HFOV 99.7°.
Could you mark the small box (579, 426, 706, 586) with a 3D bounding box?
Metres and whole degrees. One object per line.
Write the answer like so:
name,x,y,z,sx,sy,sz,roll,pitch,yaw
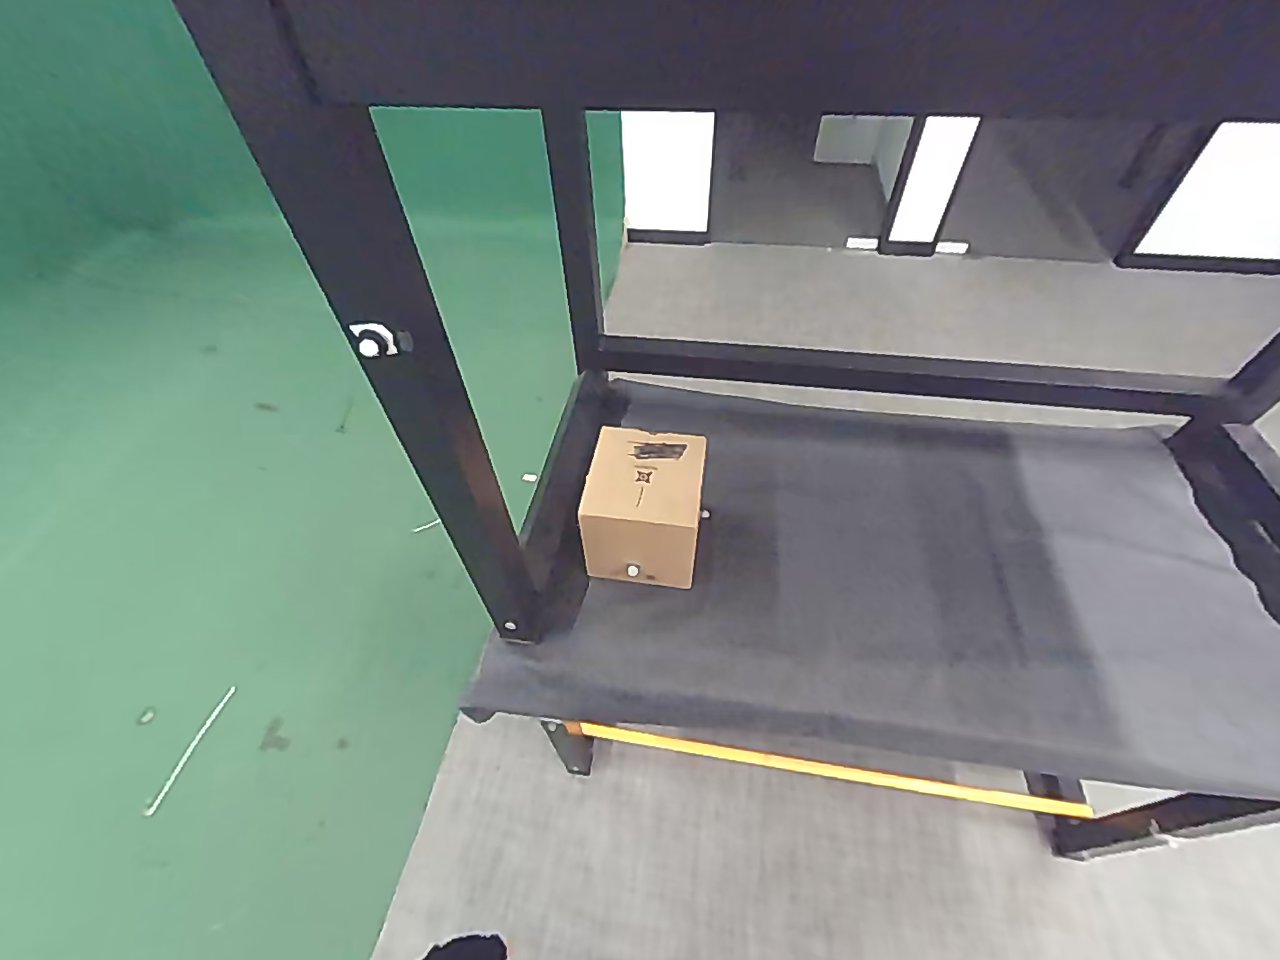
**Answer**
small box,0.008,0.042,0.851,0.168,0.176,0.179,6,50,7
